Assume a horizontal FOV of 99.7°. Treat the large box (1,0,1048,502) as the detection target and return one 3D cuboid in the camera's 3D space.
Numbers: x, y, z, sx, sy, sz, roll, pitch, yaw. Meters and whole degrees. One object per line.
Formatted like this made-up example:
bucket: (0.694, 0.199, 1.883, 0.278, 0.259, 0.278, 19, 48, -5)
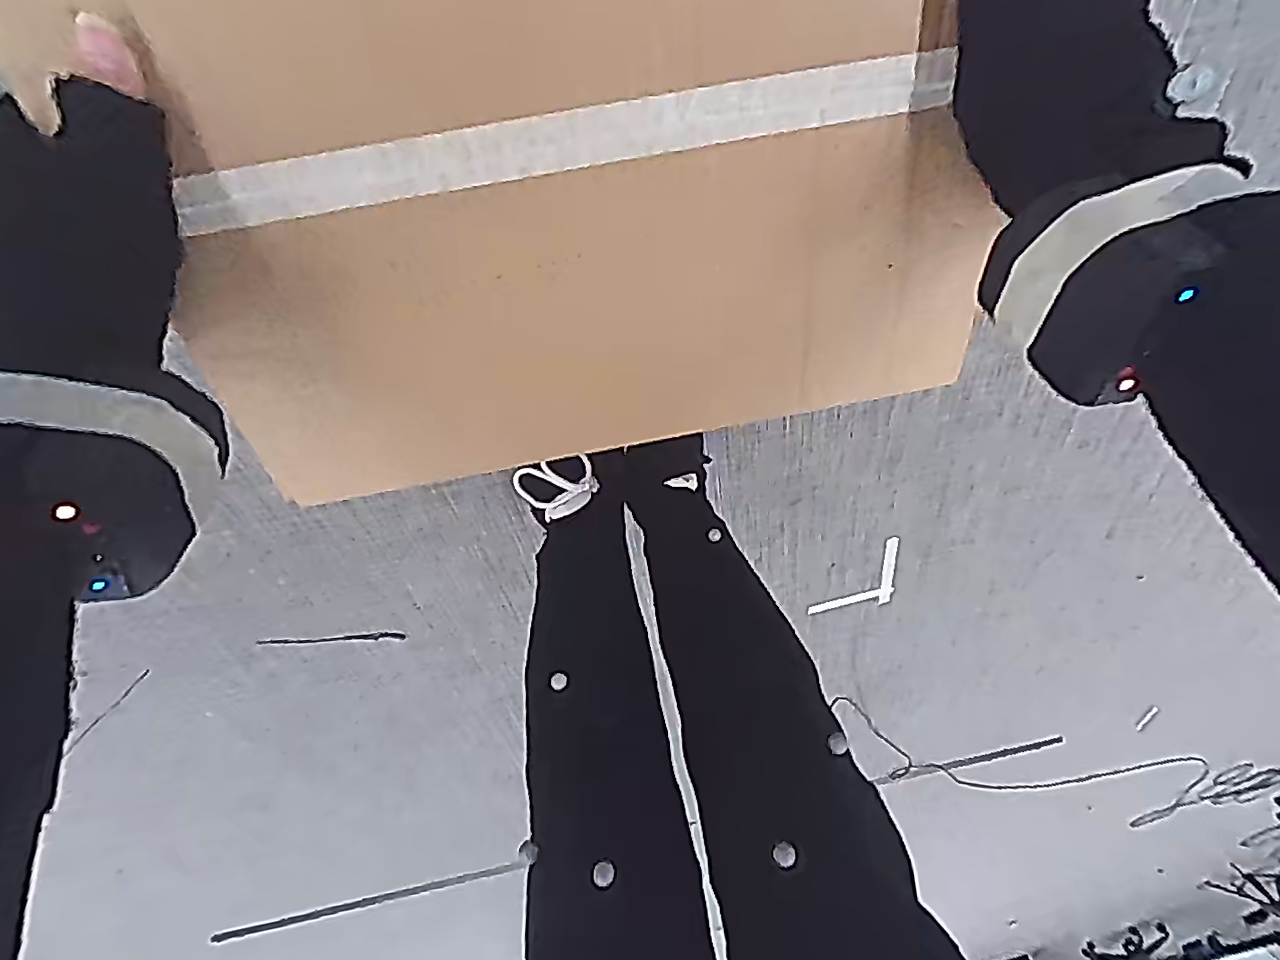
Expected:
large box: (-0.041, -0.230, 0.361, 0.408, 0.320, 0.320, -11, 128, -3)
